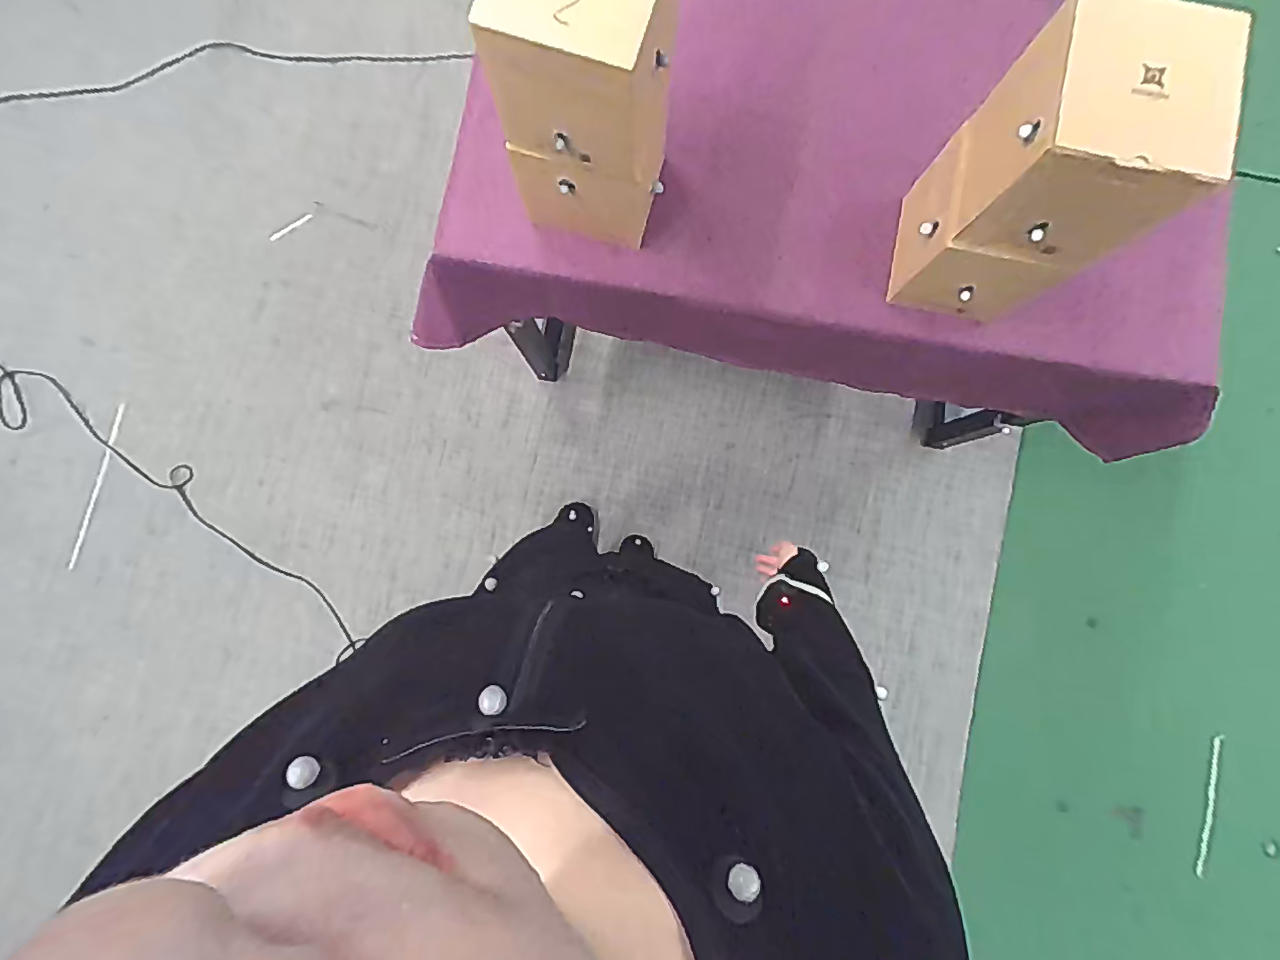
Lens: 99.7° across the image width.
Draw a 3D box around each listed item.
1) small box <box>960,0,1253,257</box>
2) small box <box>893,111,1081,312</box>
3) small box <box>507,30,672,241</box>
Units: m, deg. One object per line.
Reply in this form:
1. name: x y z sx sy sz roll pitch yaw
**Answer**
1. small box: 0.480 -0.374 0.583 0.168 0.176 0.179 12 86 1
2. small box: 0.473 -0.354 0.745 0.168 0.176 0.179 12 85 1
3. small box: -0.063 -0.464 0.754 0.179 0.176 0.168 14 85 0
